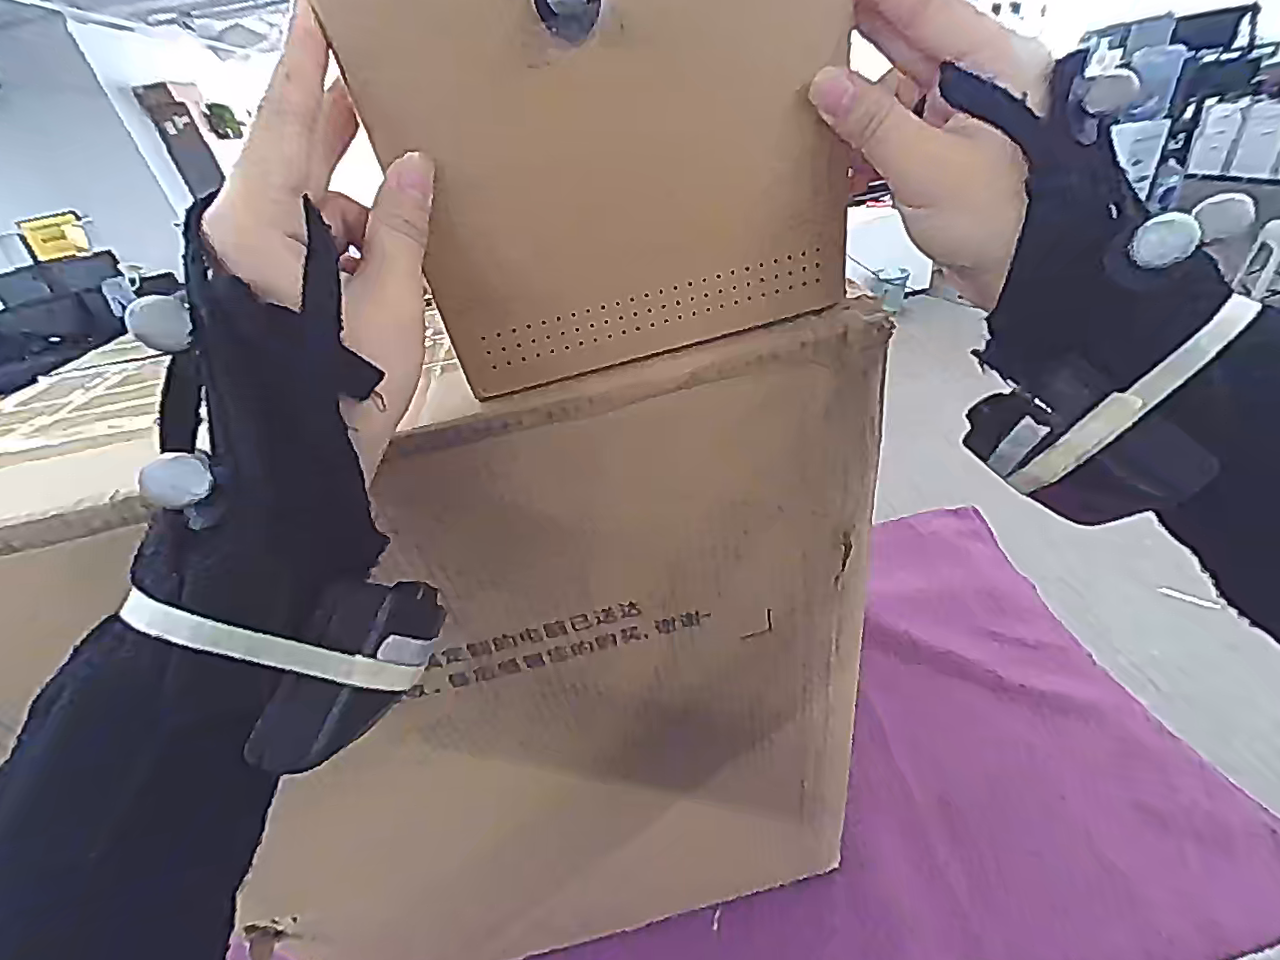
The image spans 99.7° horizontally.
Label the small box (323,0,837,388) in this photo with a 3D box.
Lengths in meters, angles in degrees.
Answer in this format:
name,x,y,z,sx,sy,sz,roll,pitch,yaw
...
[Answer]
name,x,y,z,sx,sy,sz,roll,pitch,yaw
small box,-0.018,-0.162,0.263,0.179,0.176,0.168,-16,35,-4
